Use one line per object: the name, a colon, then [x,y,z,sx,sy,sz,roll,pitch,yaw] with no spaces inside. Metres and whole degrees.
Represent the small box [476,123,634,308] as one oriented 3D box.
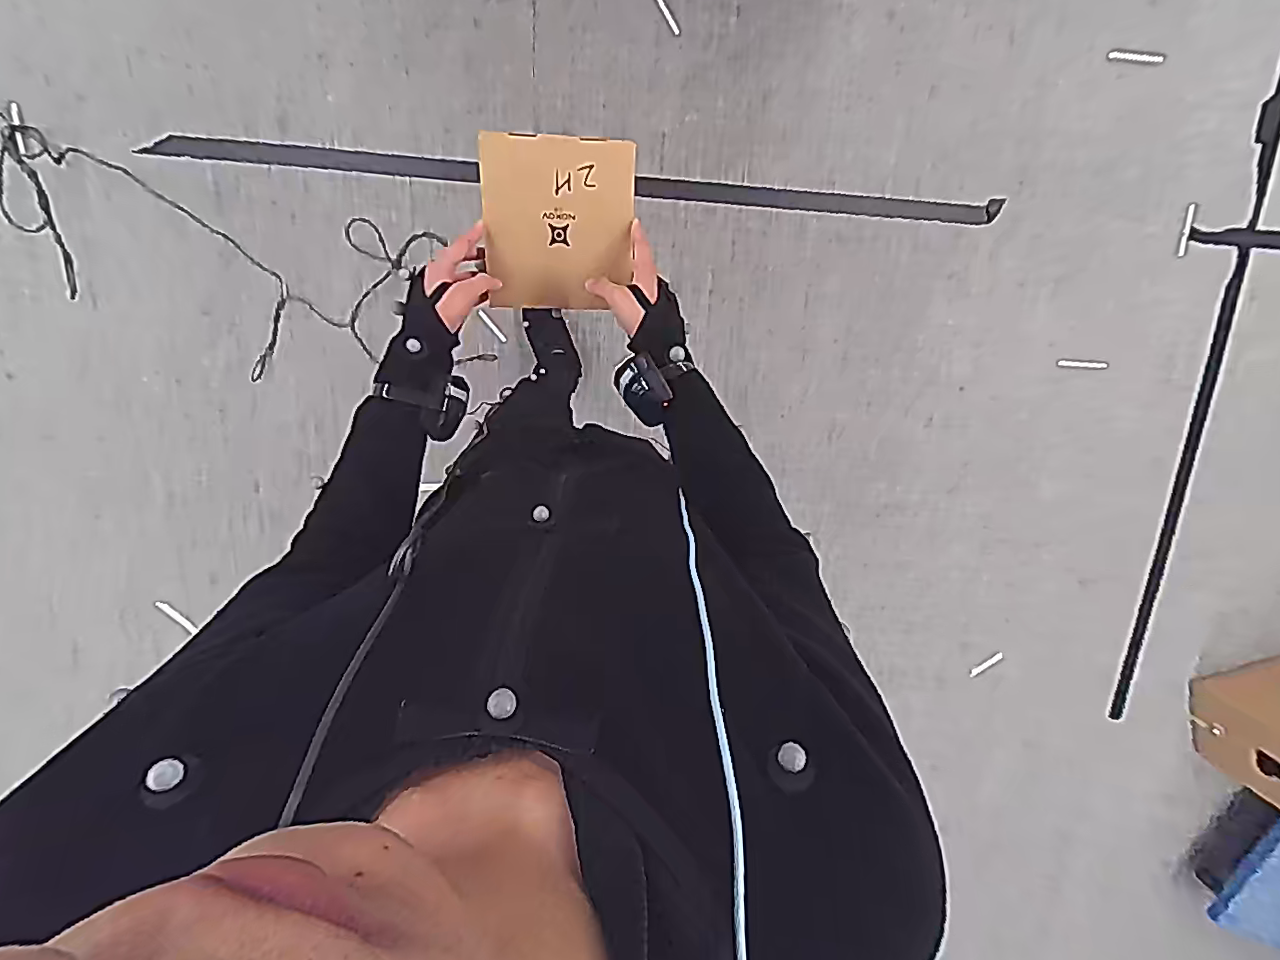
small box: [-0.101,-0.311,0.663,0.168,0.176,0.179,-1,111,-9]
